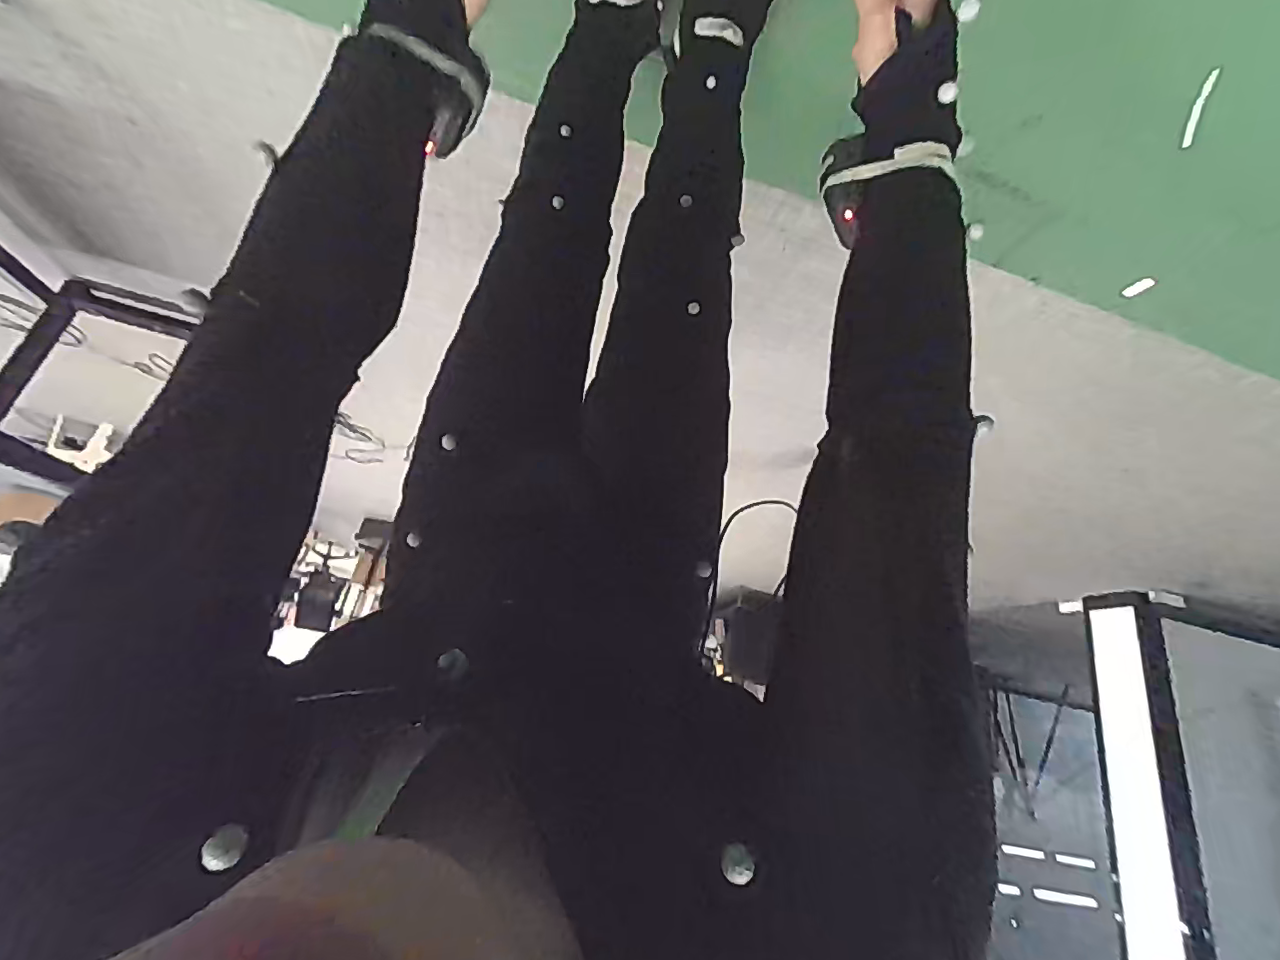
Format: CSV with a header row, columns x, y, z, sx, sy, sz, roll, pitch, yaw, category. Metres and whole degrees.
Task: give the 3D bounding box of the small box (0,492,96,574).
x,y,z,sx,sy,sz,roll,pitch,yaw,category
-1.672,0.143,1.477,0.179,0.176,0.168,15,158,-9,small box
